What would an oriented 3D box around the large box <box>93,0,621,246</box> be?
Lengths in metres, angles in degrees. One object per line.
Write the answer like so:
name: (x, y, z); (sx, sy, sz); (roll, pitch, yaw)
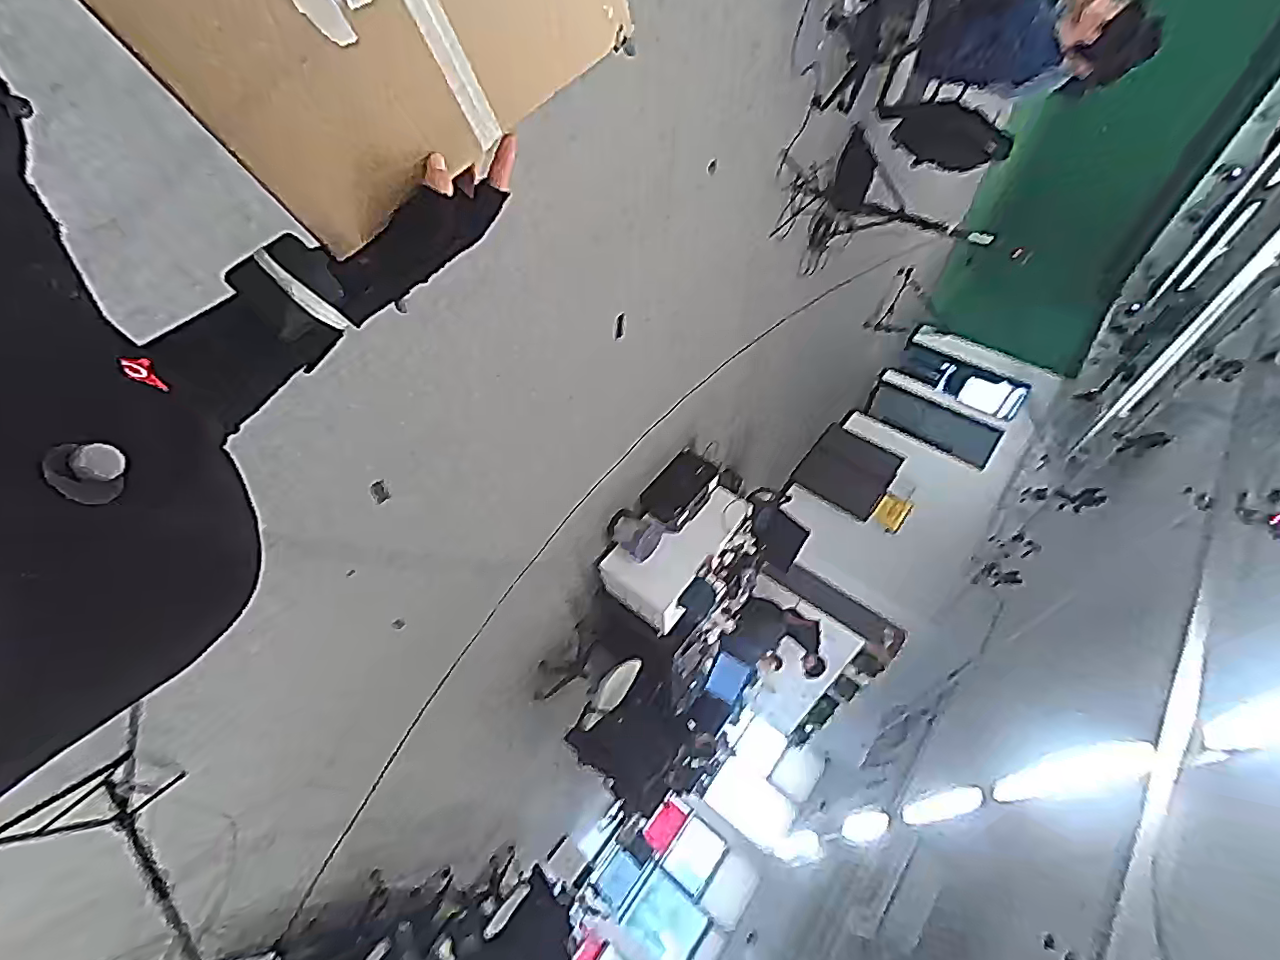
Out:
large box: (-0.267, -0.455, 0.335); (0.320, 0.320, 0.408); (-41, 155, -5)
